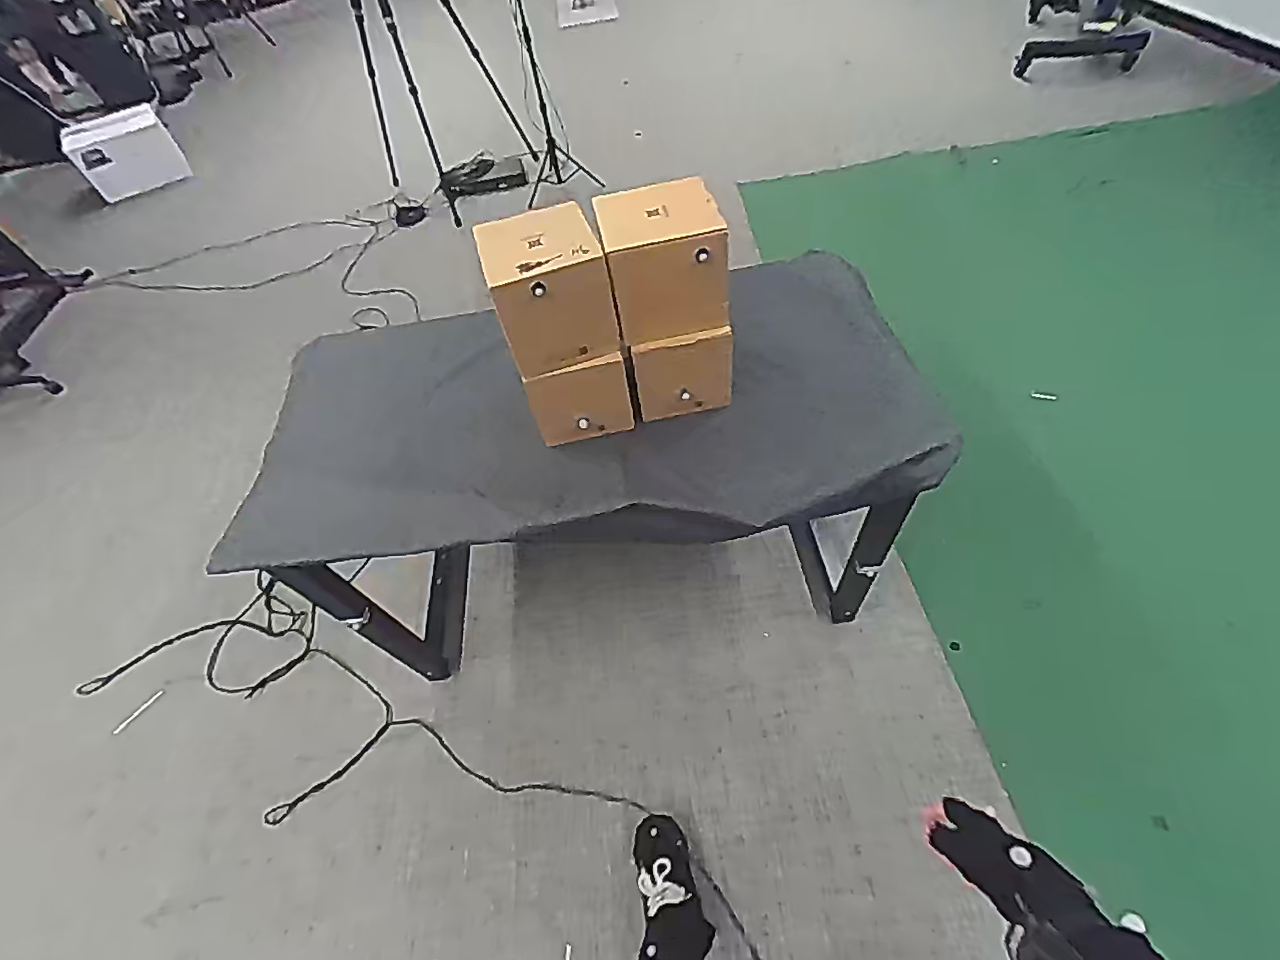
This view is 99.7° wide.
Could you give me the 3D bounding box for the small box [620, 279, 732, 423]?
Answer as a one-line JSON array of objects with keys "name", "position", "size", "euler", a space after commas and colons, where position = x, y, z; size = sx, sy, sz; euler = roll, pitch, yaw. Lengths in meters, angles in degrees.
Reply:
[{"name": "small box", "position": [0.064, -0.231, 0.977], "size": [0.168, 0.176, 0.179], "euler": [-11, 53, 1]}]
